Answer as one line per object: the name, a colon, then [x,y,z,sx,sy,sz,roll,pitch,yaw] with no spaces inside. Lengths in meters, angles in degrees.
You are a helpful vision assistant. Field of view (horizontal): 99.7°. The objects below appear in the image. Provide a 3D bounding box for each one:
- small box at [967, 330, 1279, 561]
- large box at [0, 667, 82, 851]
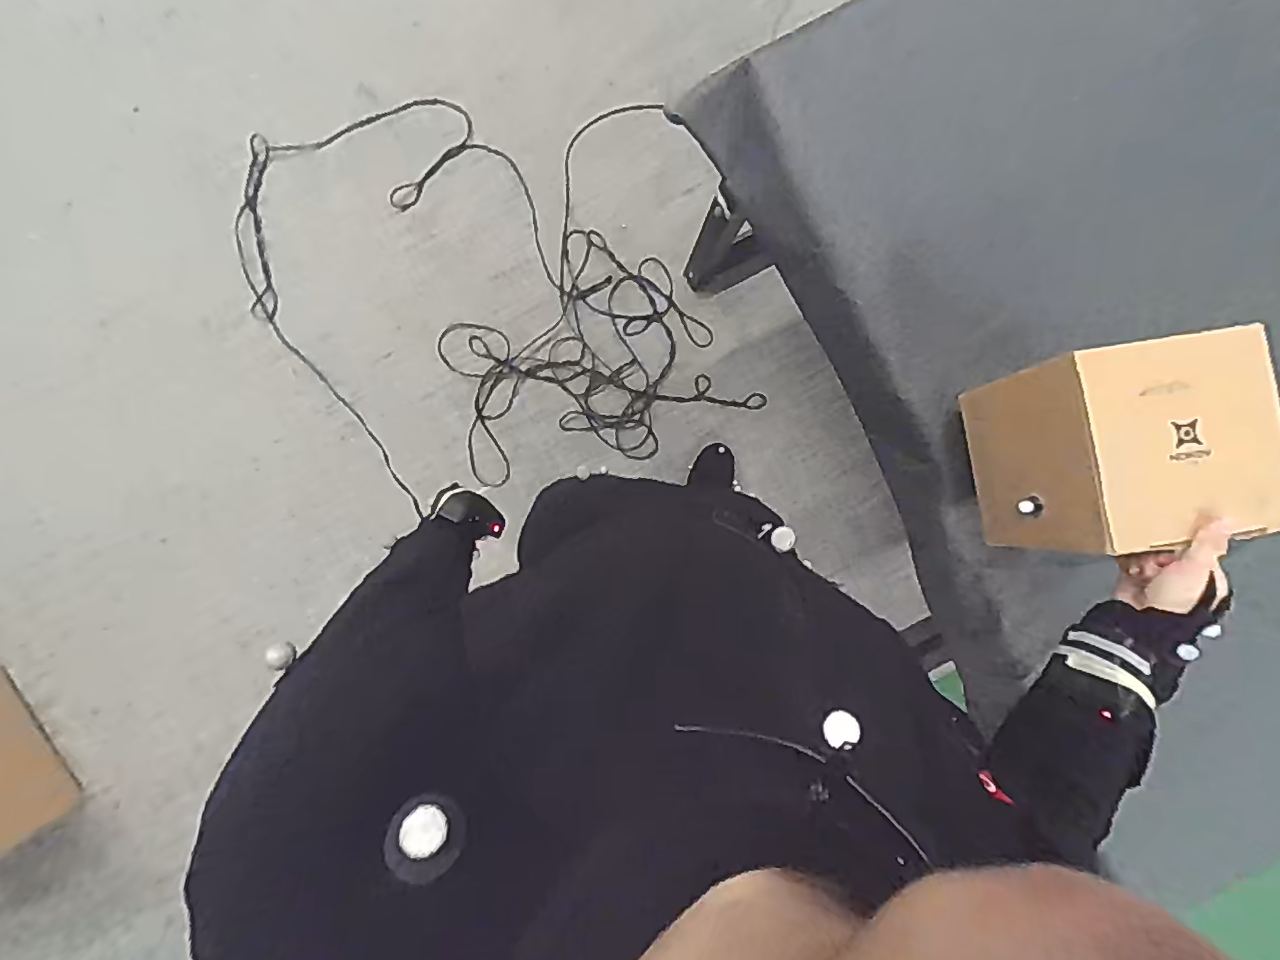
small box: [0.460,-0.024,0.528,0.168,0.176,0.179,-9,85,-1]
large box: [-1.597,0.693,1.182,0.320,0.320,0.408,-28,93,-2]
